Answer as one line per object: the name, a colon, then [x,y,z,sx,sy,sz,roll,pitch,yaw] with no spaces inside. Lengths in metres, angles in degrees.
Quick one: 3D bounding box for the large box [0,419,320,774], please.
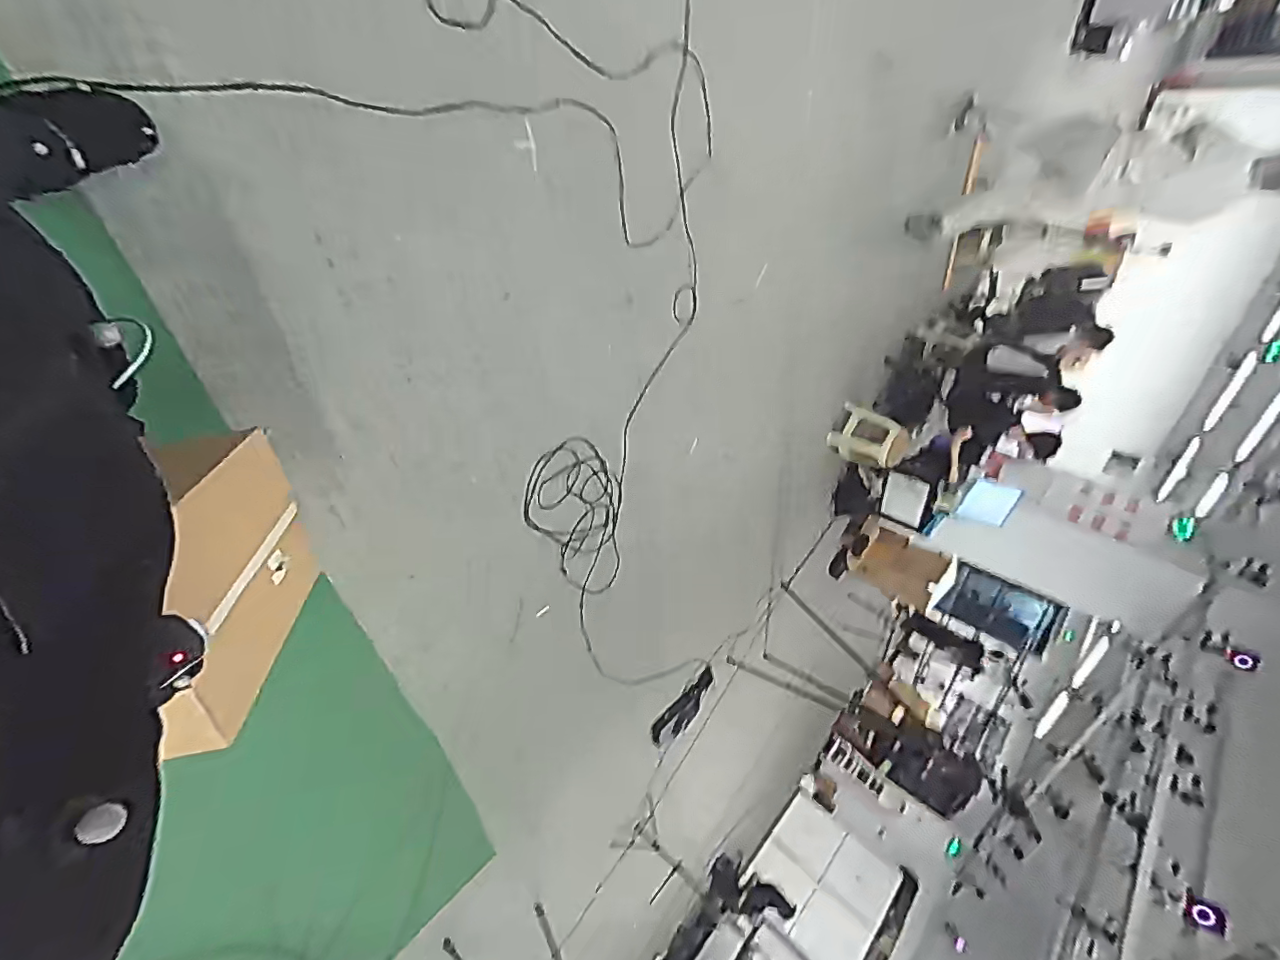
large box: [-0.755,0.142,0.817,0.320,0.408,0.320,-8,119,-9]
